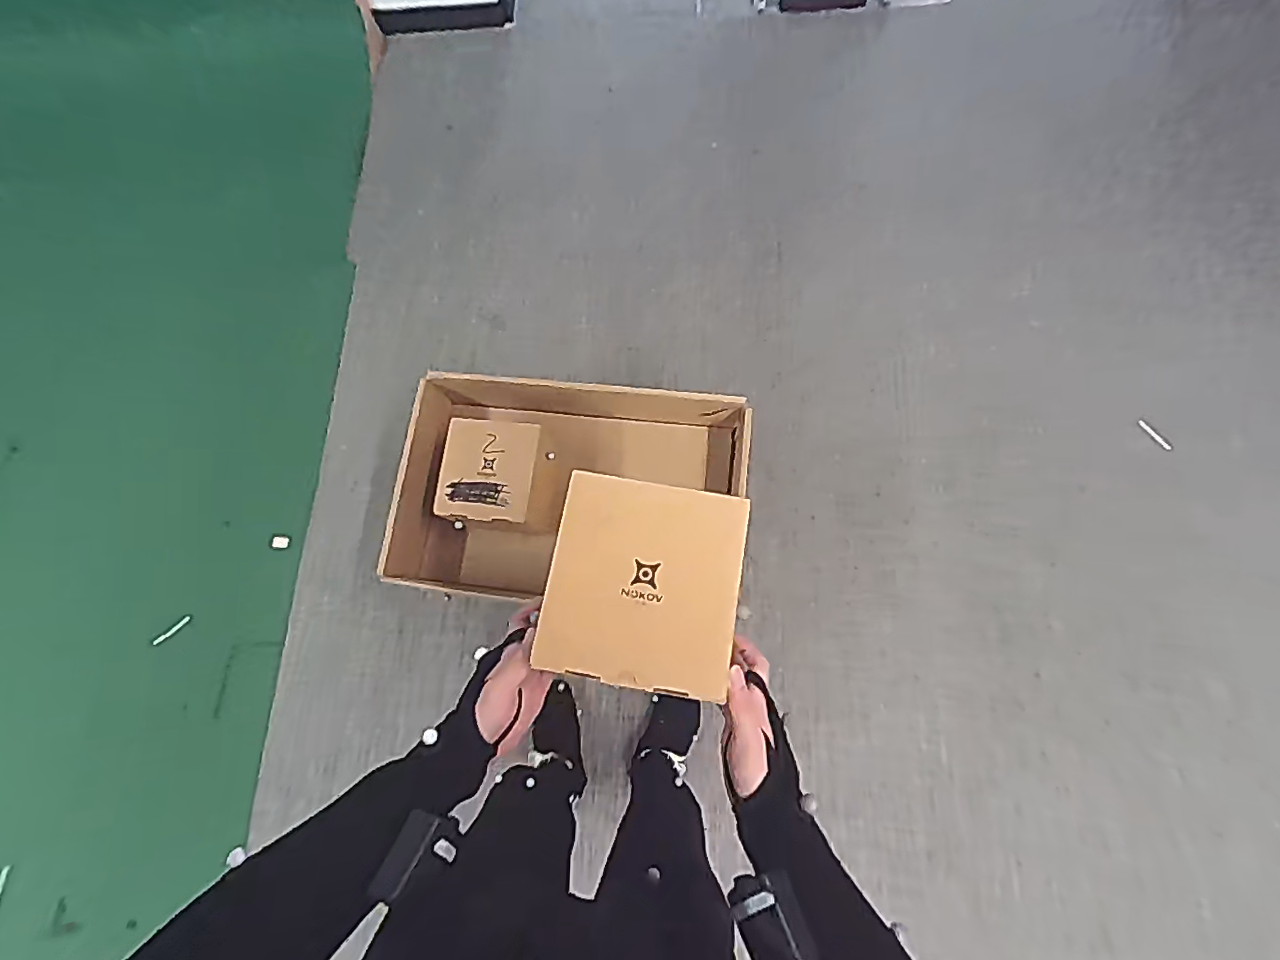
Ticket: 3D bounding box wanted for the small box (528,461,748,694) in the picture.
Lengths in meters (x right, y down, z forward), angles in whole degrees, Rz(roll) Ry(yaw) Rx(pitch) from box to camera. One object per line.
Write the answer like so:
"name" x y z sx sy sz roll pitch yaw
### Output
"small box" 0.001 0.100 0.536 0.168 0.176 0.179 9 74 3
